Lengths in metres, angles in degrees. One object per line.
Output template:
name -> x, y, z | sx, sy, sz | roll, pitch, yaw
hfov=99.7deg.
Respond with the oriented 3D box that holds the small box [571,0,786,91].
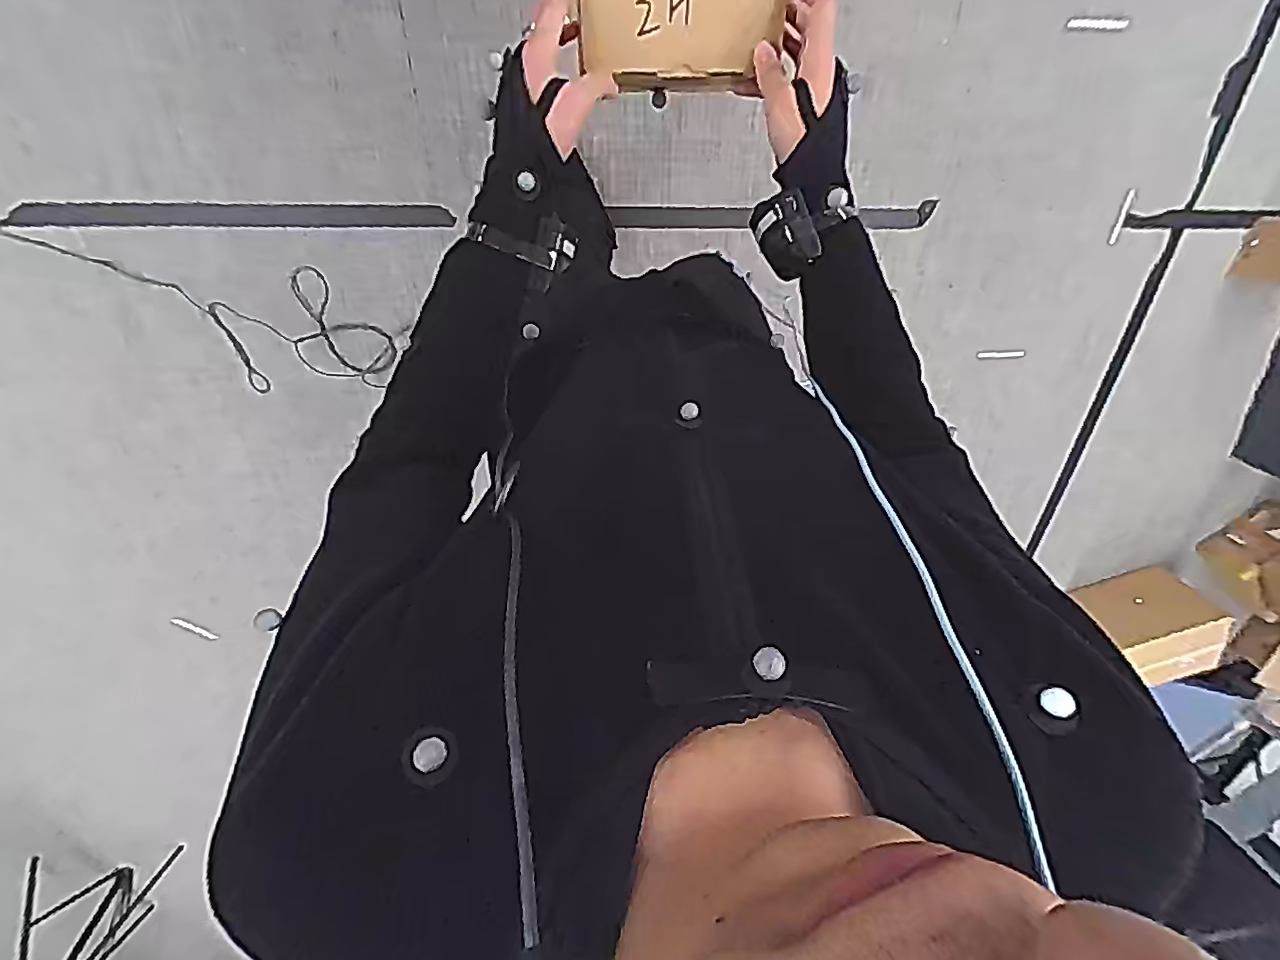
small box -> 0.025, -0.453, 0.467 | 0.168, 0.176, 0.179 | -4, 123, -7
